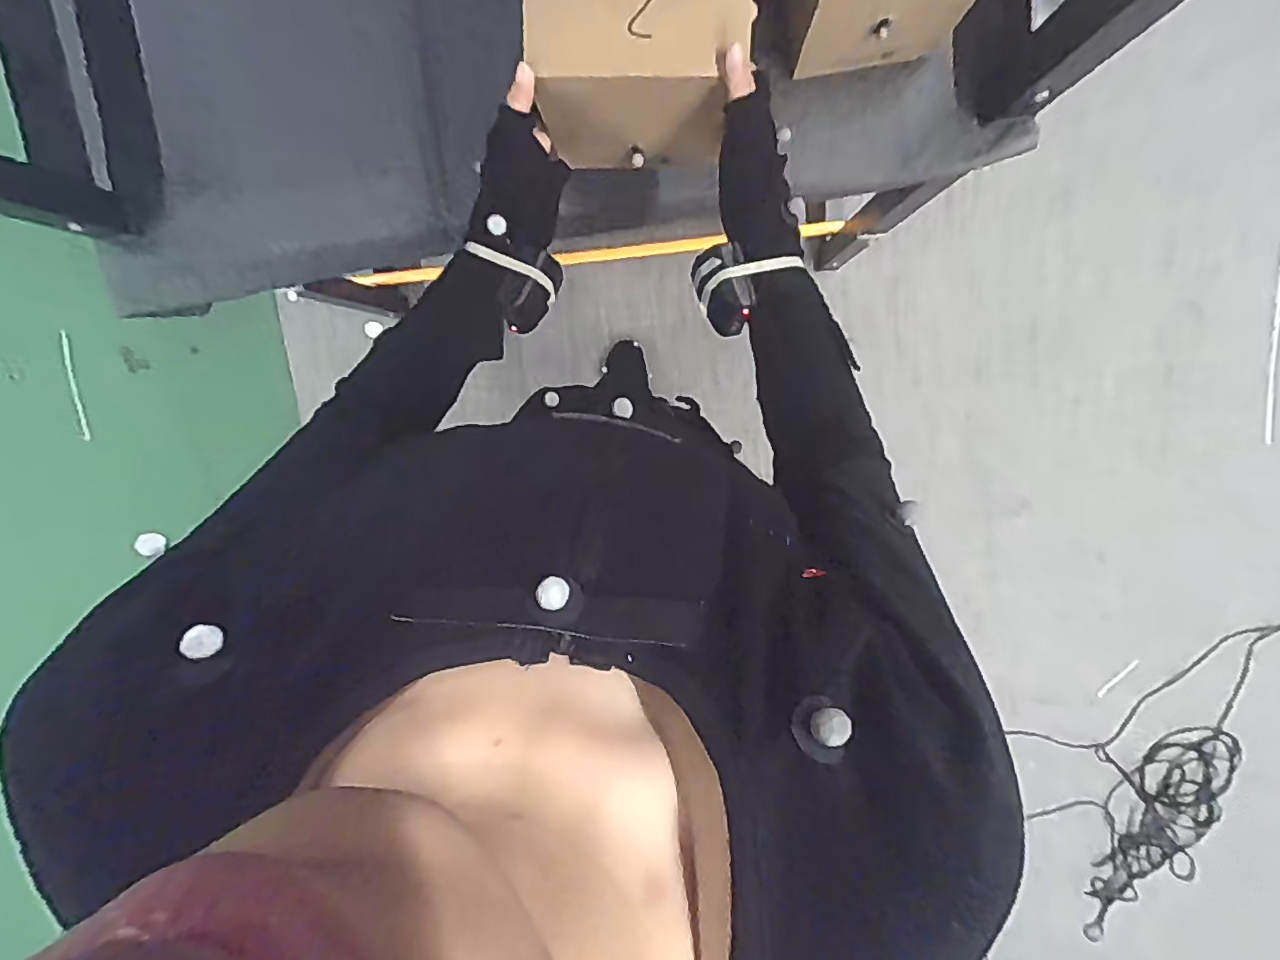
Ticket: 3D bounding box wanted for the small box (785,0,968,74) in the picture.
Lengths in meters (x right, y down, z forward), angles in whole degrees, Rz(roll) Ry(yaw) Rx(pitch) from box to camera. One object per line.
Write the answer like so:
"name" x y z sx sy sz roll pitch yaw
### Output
"small box" 0.246 -0.553 0.550 0.168 0.176 0.179 -7 98 5
